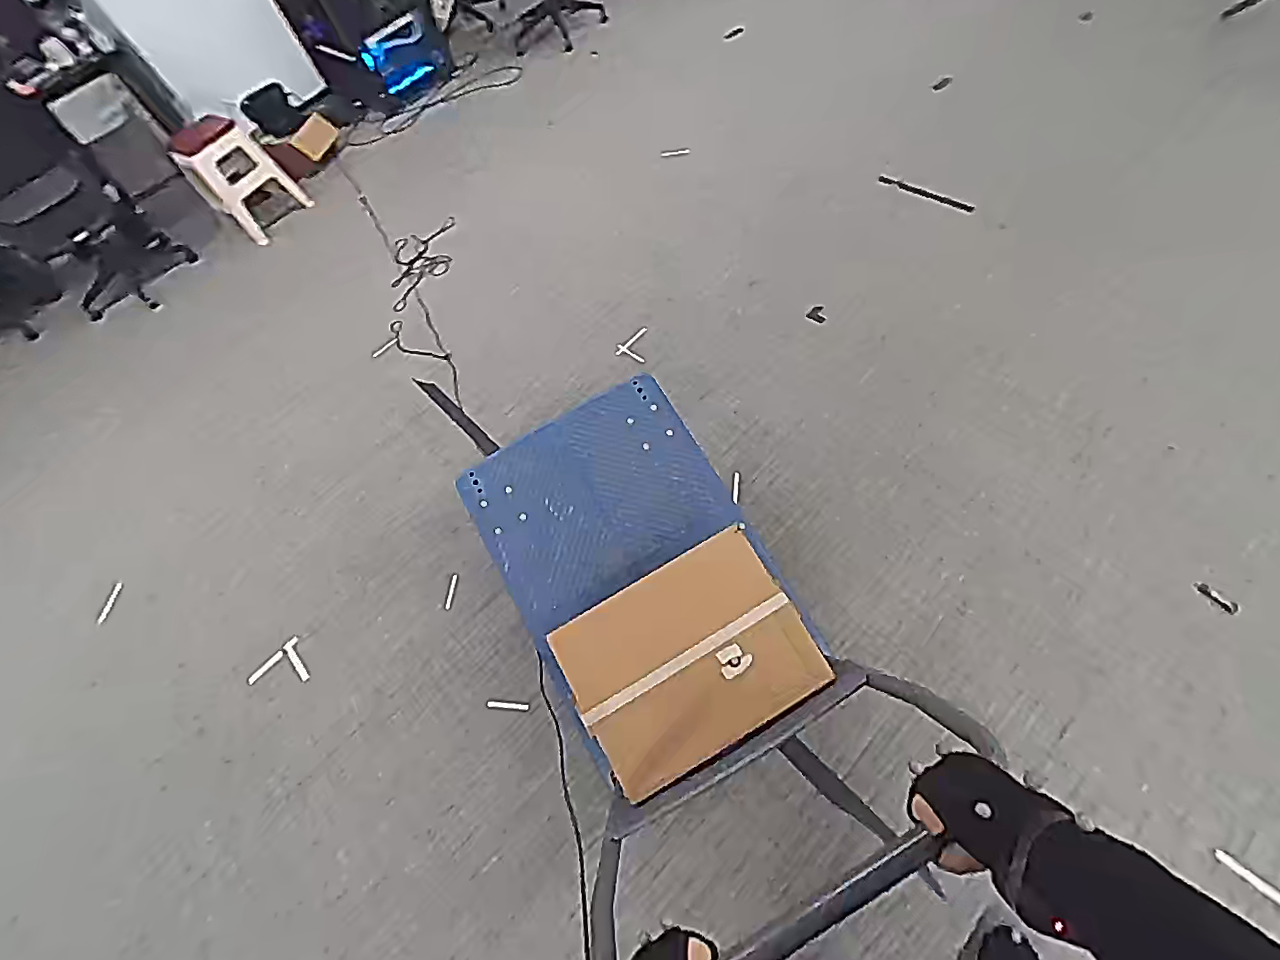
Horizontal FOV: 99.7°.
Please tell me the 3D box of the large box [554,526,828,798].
[{"bbox_3d":[0.092,0.352,1.102,0.408,0.320,0.320,-30,76,-6],"label":"large box"}]
